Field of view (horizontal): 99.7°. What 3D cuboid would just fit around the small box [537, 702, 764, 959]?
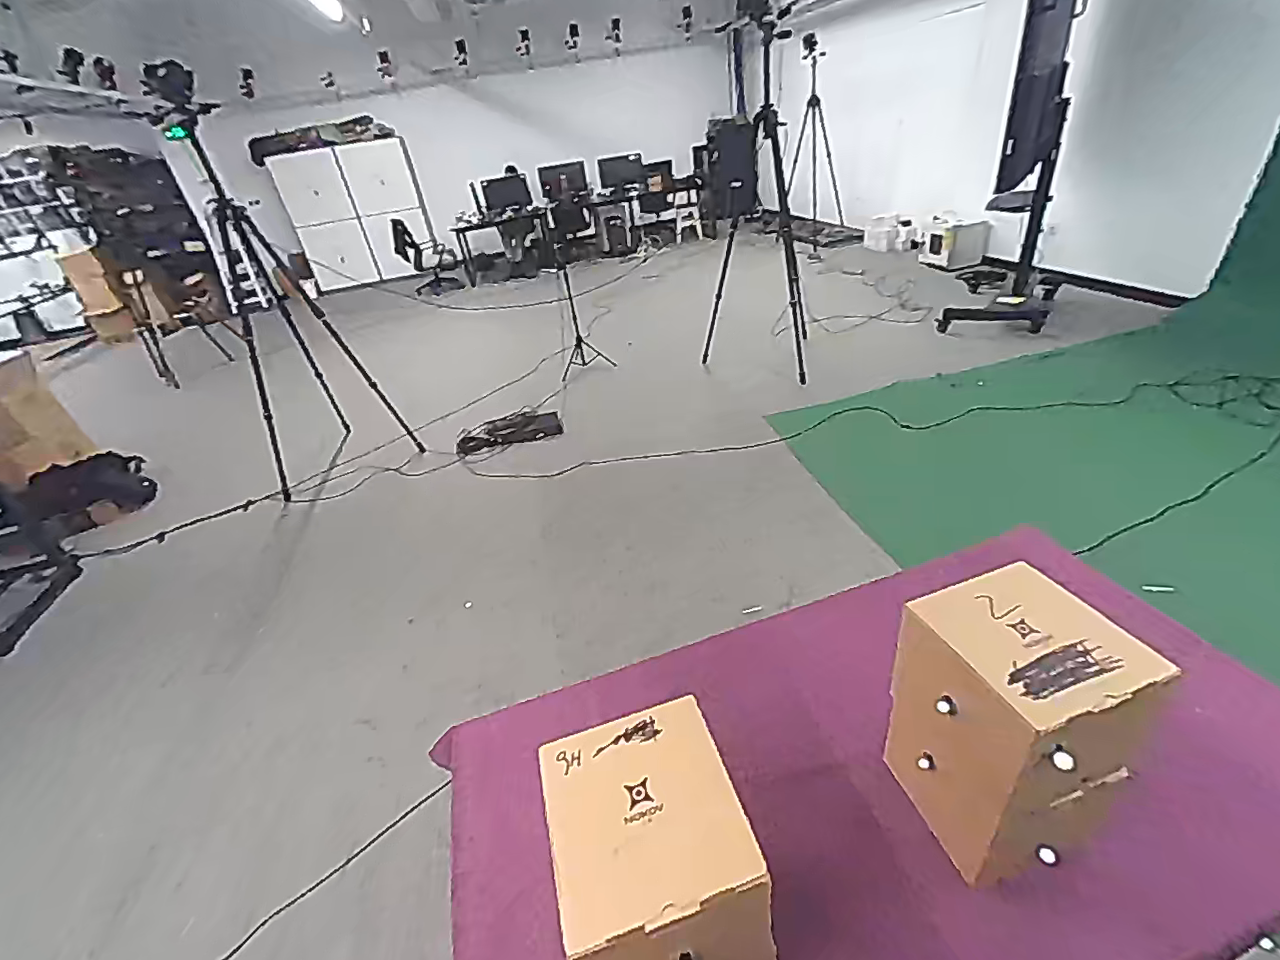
[{"bbox_3d":[0.010,0.357,0.518,0.168,0.176,0.179,-15,34,-9],"label":"small box"}]

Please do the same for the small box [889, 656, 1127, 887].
[{"bbox_3d":[0.443,0.365,0.690,0.168,0.176,0.179,-16,33,-7],"label":"small box"}]
